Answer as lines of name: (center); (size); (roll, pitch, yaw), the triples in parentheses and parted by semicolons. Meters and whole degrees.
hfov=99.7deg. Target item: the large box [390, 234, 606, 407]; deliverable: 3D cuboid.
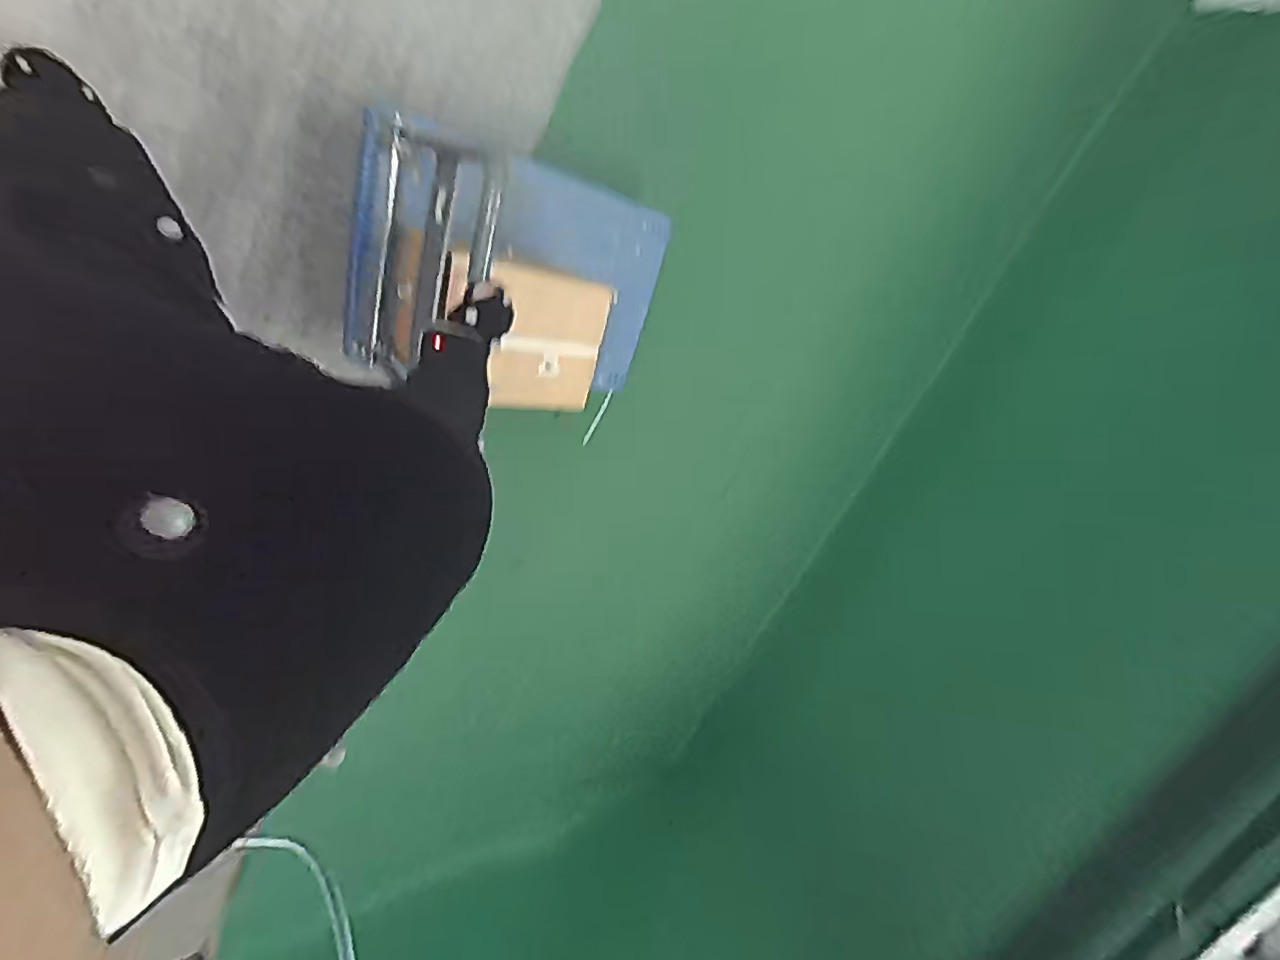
large box: (-0.361, -0.386, 1.343); (0.408, 0.320, 0.320); (-4, 122, -42)
